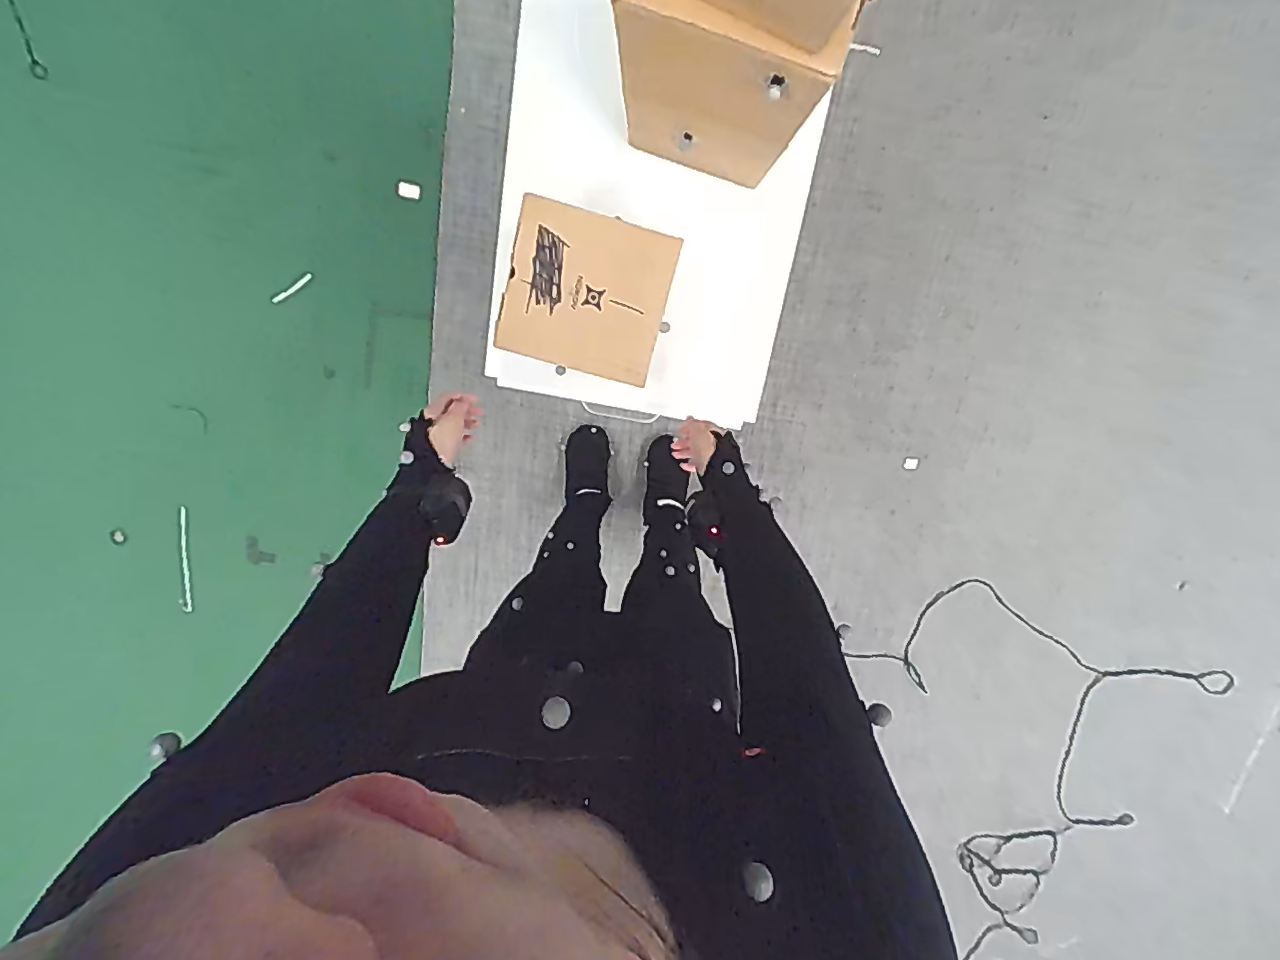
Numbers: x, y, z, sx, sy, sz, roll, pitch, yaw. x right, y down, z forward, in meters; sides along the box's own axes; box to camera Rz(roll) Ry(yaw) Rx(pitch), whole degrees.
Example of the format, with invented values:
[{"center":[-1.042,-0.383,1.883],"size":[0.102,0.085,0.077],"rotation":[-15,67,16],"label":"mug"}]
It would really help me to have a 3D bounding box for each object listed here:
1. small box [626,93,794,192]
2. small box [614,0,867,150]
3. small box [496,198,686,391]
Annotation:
[{"center":[0.093,-0.449,0.606],"size":[0.179,0.176,0.168],"rotation":[17,105,-3],"label":"small box"},{"center":[0.087,-0.407,0.449],"size":[0.179,0.176,0.168],"rotation":[16,104,-4],"label":"small box"},{"center":[-0.056,-0.216,0.665],"size":[0.179,0.176,0.168],"rotation":[15,103,-5],"label":"small box"}]
